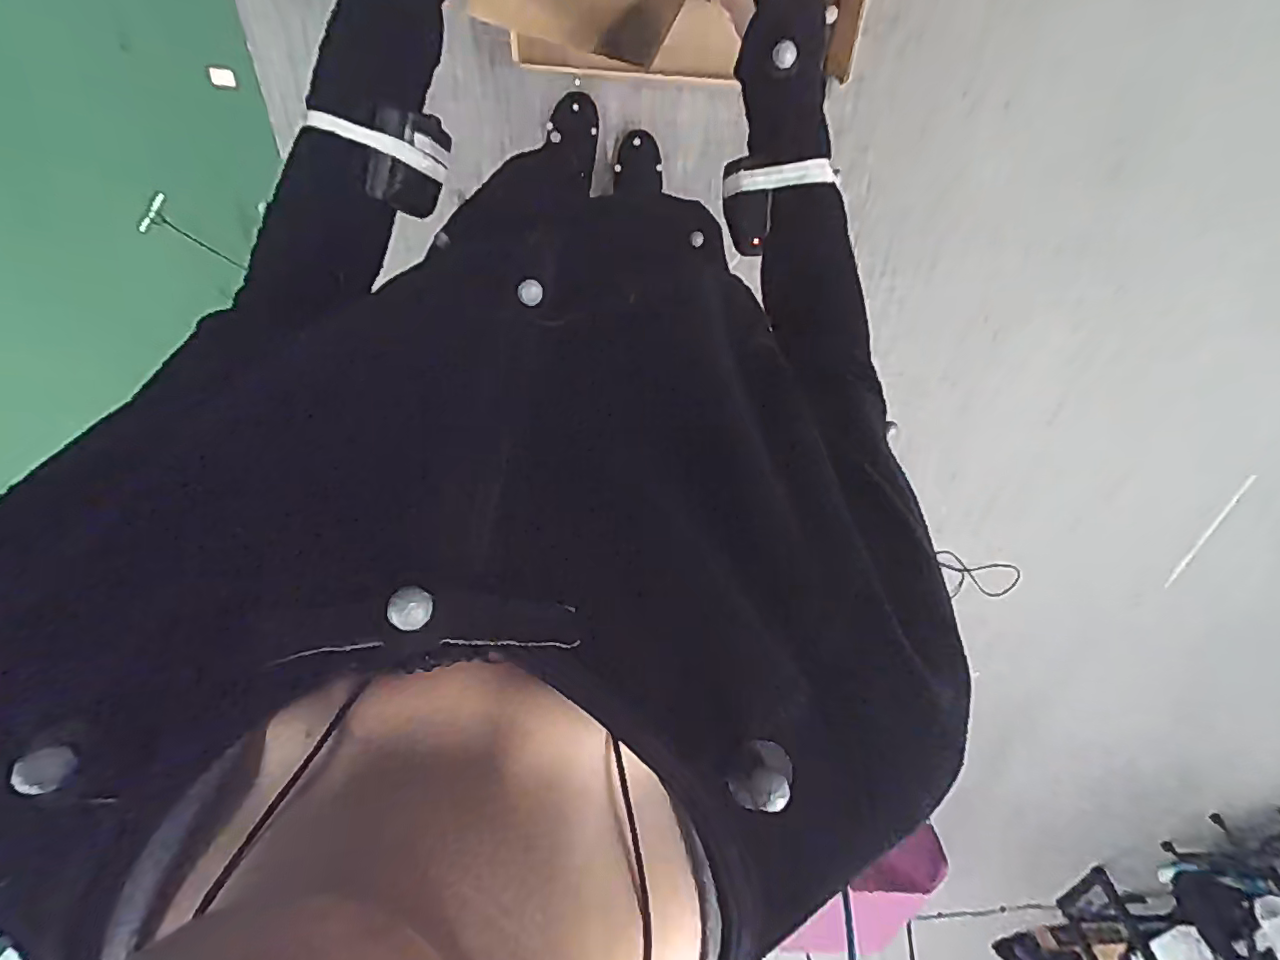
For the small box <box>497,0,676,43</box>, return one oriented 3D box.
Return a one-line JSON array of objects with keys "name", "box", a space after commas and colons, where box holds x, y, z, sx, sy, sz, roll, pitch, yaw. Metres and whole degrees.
[{"name": "small box", "box": [-0.037, -0.491, 0.420, 0.179, 0.176, 0.168, 4, 99, -15]}]
